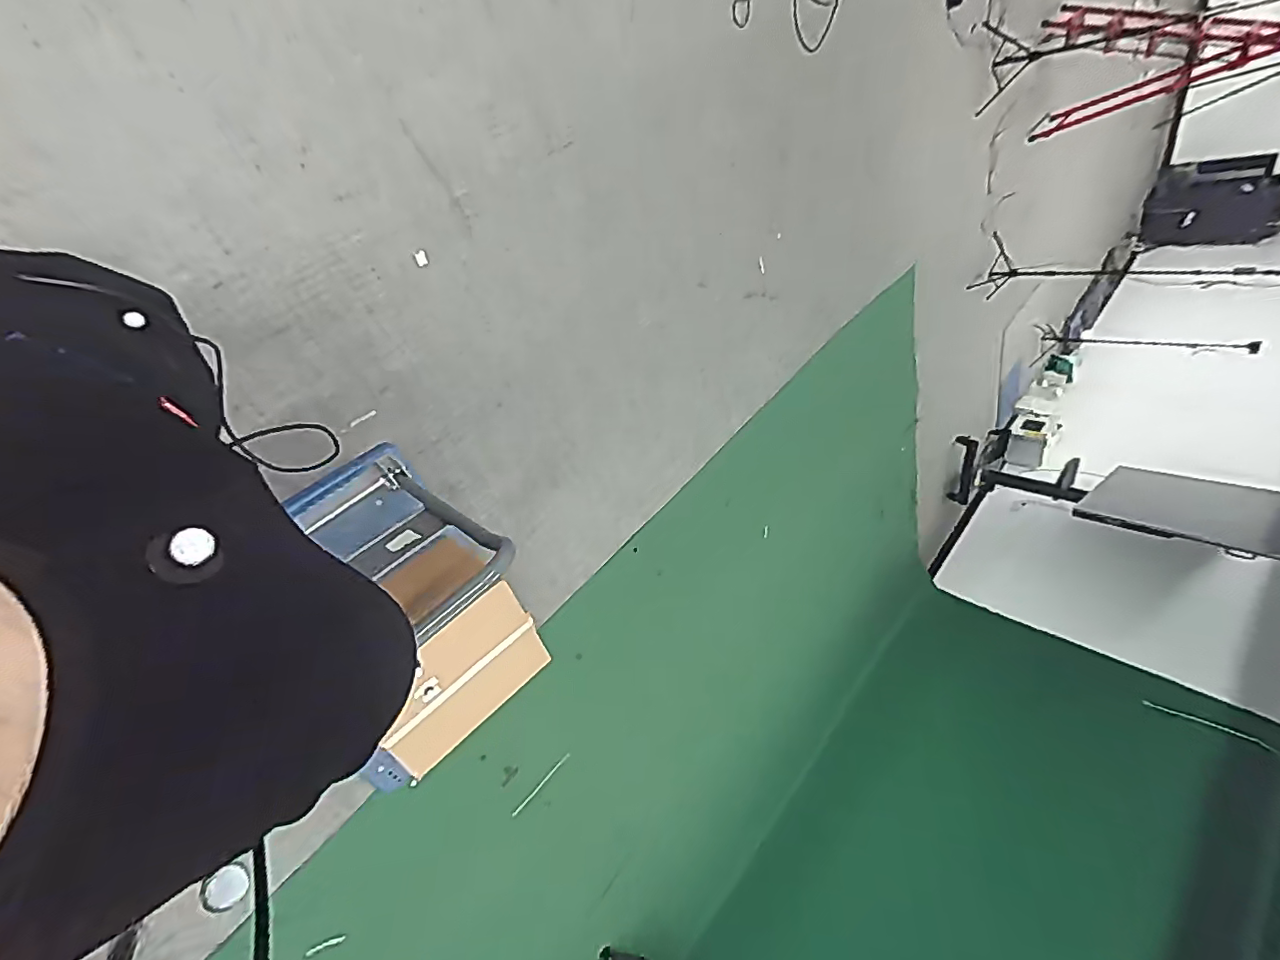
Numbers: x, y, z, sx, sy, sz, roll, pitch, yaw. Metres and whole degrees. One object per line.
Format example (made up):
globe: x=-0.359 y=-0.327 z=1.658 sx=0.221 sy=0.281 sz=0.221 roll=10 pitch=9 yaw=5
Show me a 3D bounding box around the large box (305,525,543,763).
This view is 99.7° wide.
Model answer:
large box: x=-0.527 y=0.385 z=1.354 sx=0.408 sy=0.320 sz=0.320 roll=-38 pitch=128 yaw=-27
